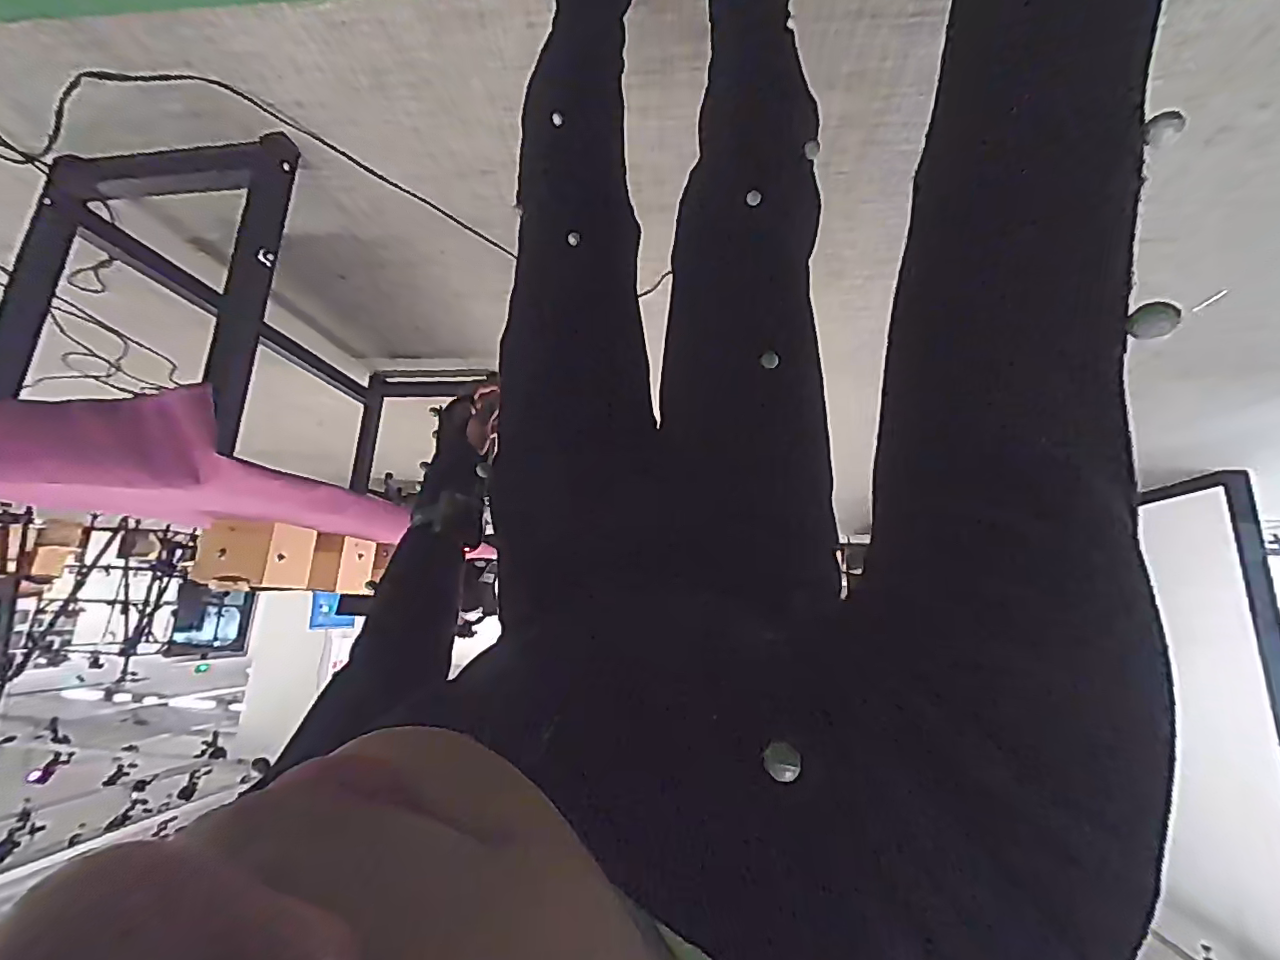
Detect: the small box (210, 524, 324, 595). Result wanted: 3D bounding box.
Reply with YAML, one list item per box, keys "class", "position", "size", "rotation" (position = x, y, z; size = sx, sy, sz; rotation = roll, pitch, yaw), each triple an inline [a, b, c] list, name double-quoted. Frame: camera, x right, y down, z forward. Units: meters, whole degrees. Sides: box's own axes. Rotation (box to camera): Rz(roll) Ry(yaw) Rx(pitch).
- class: "small box"
  position: [-0.970, 0.212, 1.421]
  size: [0.168, 0.176, 0.179]
  rotation: [2, 167, 3]

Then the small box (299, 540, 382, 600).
- class: "small box"
  position: [-0.934, 0.279, 1.680]
  size: [0.179, 0.176, 0.168]
  rotation: [1, 166, 7]
